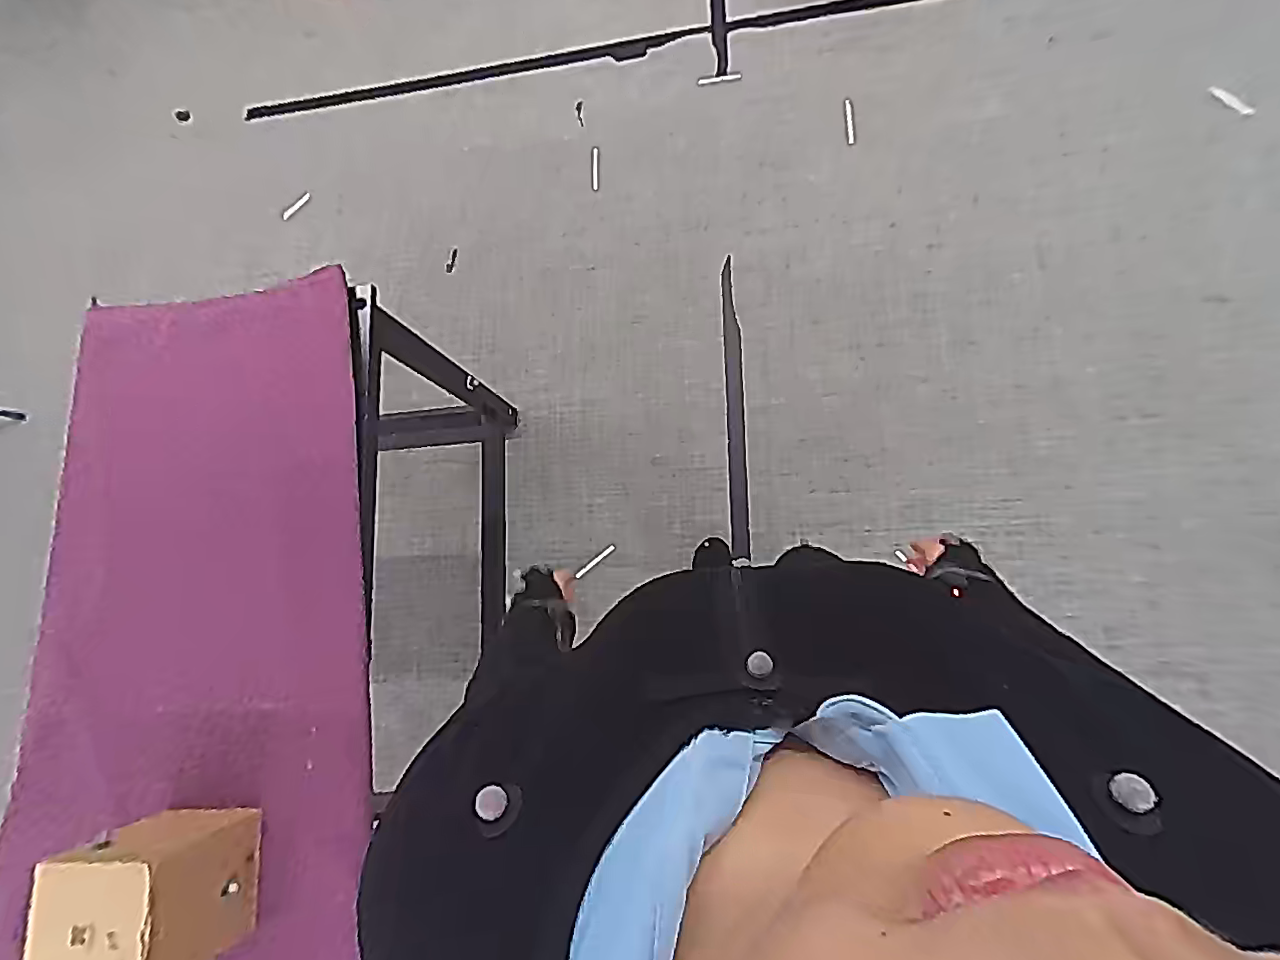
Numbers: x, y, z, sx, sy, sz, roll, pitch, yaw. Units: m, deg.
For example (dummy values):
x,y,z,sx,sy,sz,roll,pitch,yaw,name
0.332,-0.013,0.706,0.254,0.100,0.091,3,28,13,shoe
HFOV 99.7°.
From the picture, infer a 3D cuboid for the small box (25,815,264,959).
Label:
x,y,z,sx,sy,sz,roll,pitch,yaw,name
-0.661,0.578,0.734,0.179,0.176,0.168,-6,79,7,small box
